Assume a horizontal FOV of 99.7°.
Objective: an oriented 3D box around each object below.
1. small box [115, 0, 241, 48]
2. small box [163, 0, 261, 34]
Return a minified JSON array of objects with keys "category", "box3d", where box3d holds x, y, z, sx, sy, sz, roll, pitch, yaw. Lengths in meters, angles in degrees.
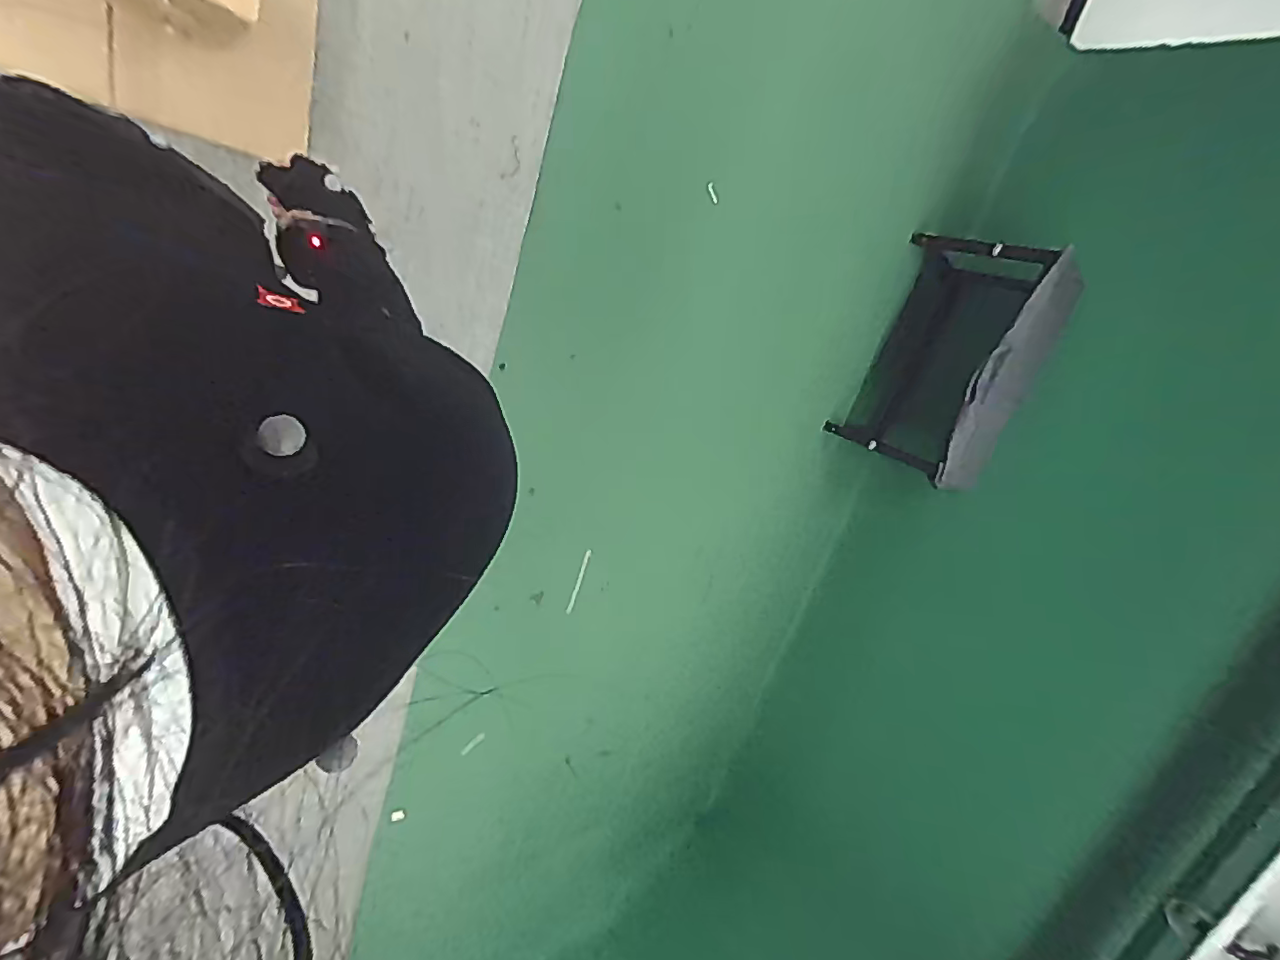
[{"category":"small box","box3d":[-0.752,-0.842,0.871,0.168,0.176,0.179,-1,115,-43]},{"category":"small box","box3d":[-0.644,-0.782,0.765,0.168,0.176,0.179,2,113,-46]}]
